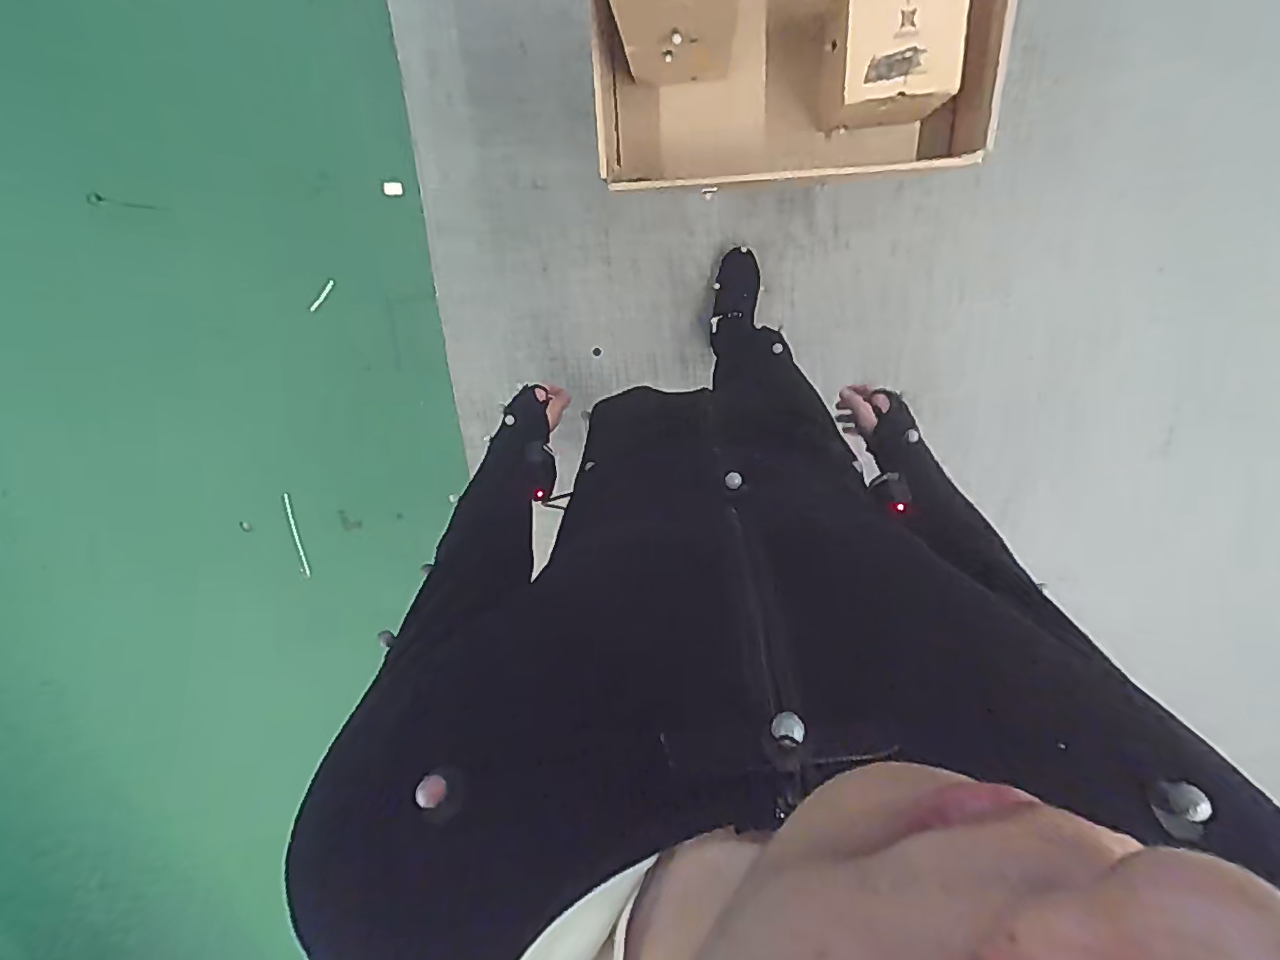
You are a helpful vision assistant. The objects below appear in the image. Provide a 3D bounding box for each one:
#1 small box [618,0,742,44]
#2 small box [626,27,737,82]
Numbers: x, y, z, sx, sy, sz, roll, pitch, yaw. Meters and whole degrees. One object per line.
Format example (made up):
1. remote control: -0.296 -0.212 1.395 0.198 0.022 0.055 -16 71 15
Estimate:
1. small box: 0.053 -0.696 0.689 0.168 0.176 0.179 3 111 5
2. small box: 0.065 -0.754 0.842 0.168 0.176 0.179 1 111 5
